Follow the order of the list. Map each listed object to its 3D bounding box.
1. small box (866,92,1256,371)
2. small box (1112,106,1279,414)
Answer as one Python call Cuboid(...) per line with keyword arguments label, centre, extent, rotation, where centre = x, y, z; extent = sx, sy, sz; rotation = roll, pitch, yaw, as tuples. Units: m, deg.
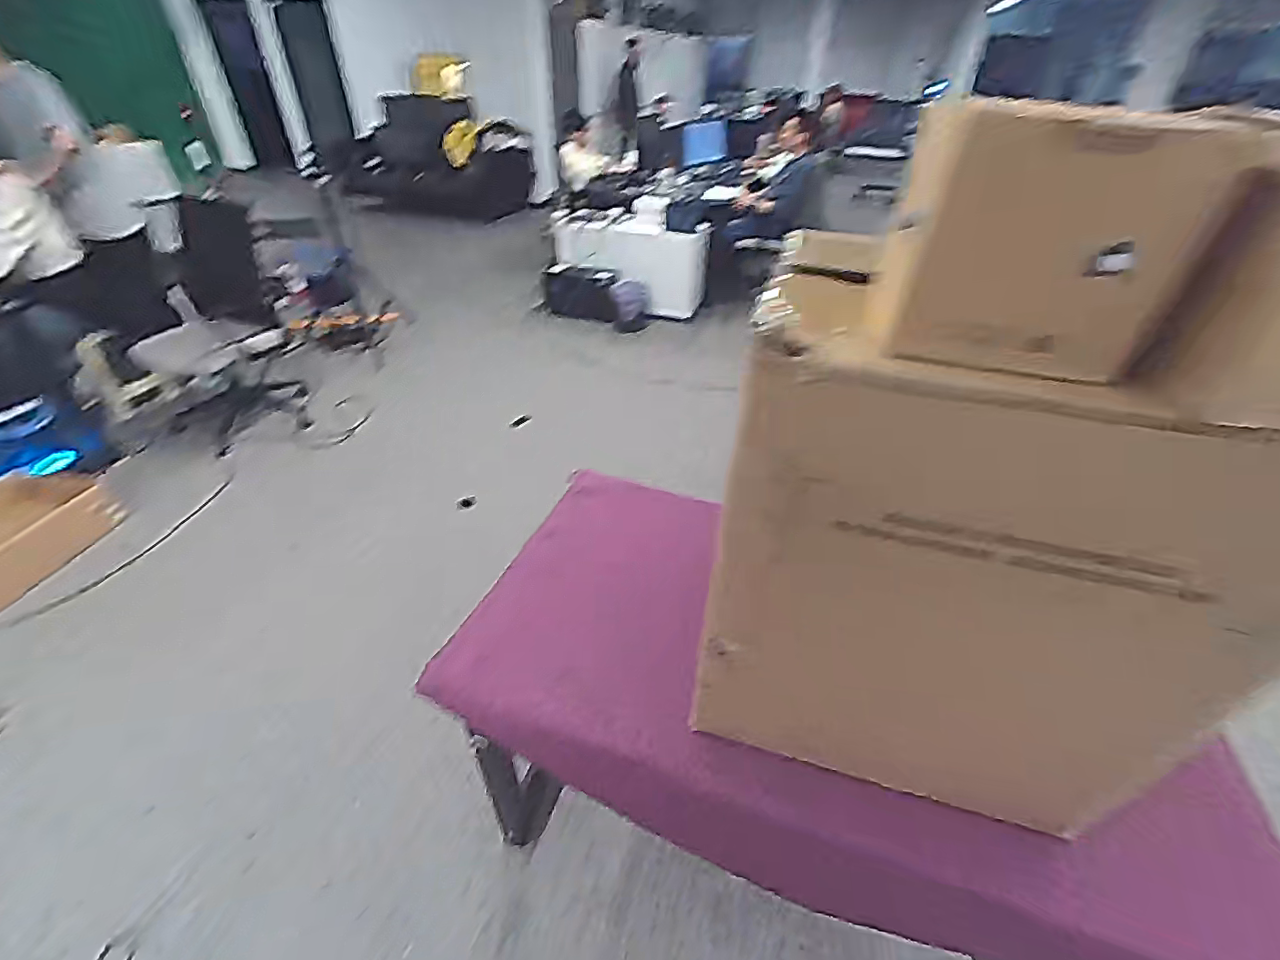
Cuboid(label="small box", centre=(0.297, -0.205, 0.439), extent=(0.168, 0.176, 0.179), rotation=(12, 37, 9))
Cuboid(label="small box", centre=(0.470, -0.153, 0.376), extent=(0.168, 0.176, 0.179), rotation=(5, 36, 6))
